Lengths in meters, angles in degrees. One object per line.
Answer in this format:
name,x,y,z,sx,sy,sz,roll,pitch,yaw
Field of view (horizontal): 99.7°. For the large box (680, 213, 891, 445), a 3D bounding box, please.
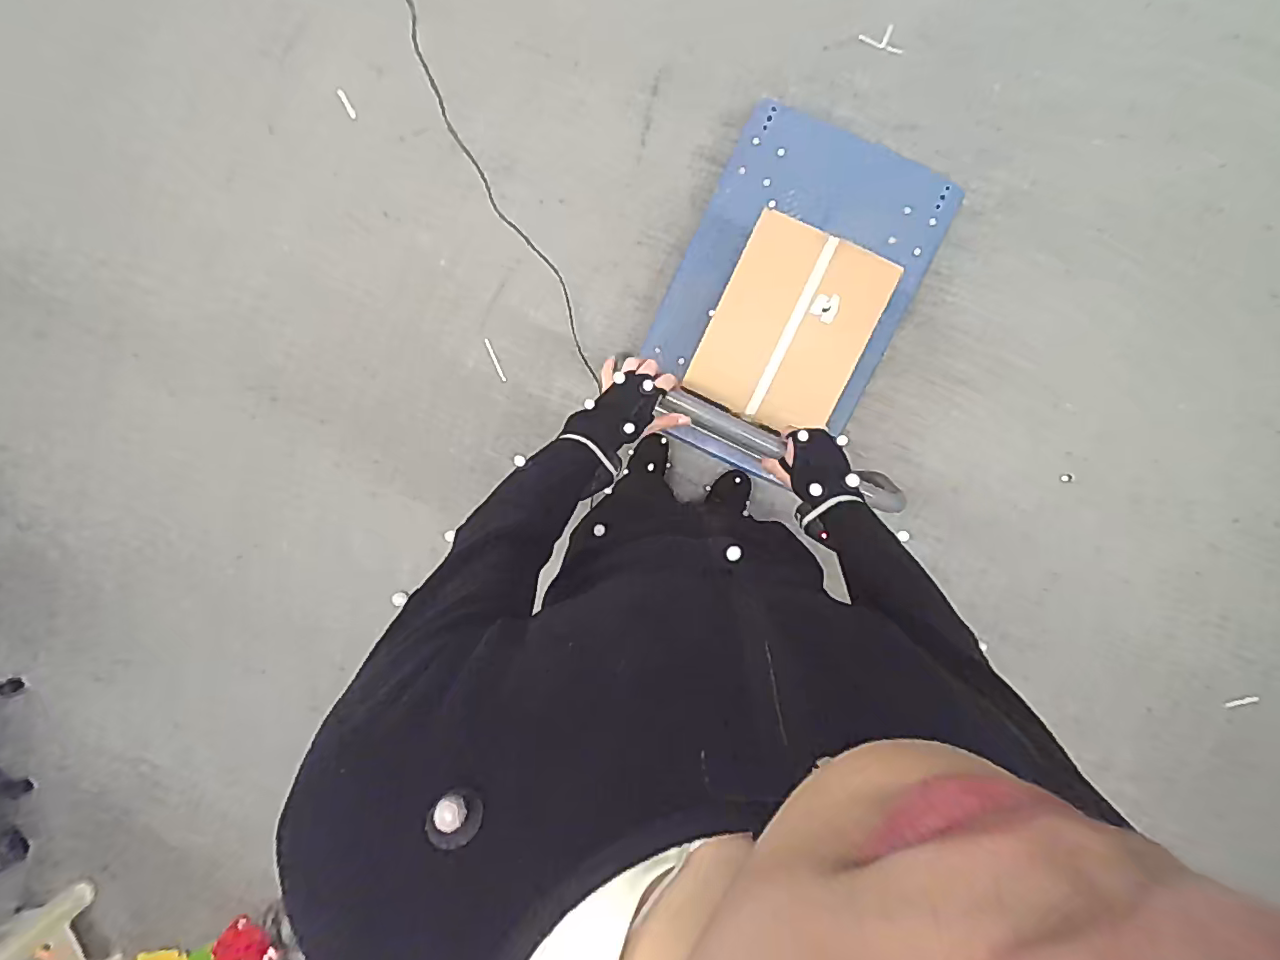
large box,0.312,-0.323,1.281,0.320,0.320,0.408,25,95,2
